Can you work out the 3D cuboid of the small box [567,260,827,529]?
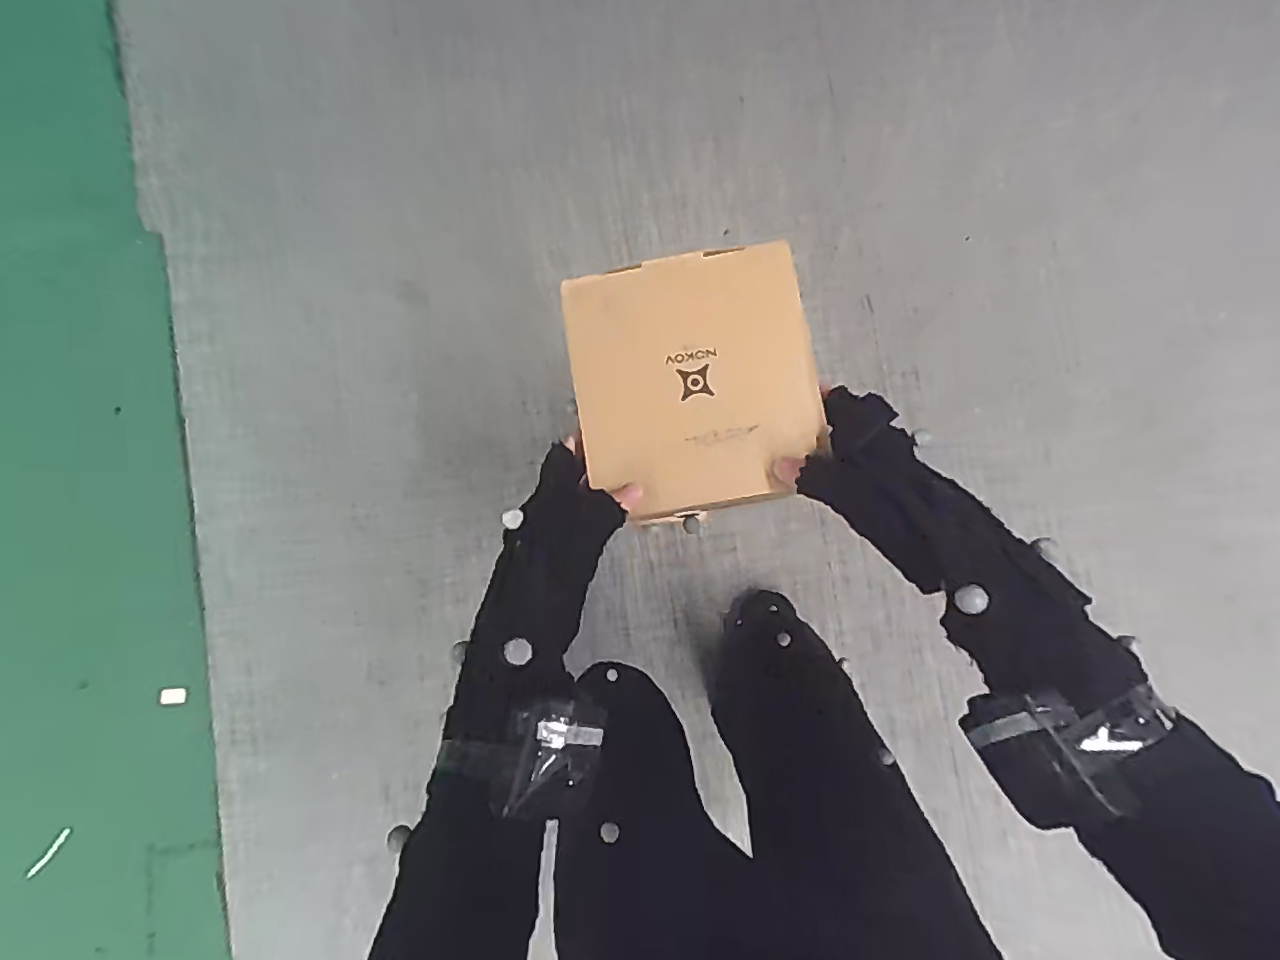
[{"bbox_3d":[0.041,-0.056,0.468,0.168,0.176,0.179,-10,84,2],"label":"small box"}]

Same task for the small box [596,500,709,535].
[{"bbox_3d":[0.019,0.003,0.922,0.179,0.176,0.168,-4,86,3],"label":"small box"}]
